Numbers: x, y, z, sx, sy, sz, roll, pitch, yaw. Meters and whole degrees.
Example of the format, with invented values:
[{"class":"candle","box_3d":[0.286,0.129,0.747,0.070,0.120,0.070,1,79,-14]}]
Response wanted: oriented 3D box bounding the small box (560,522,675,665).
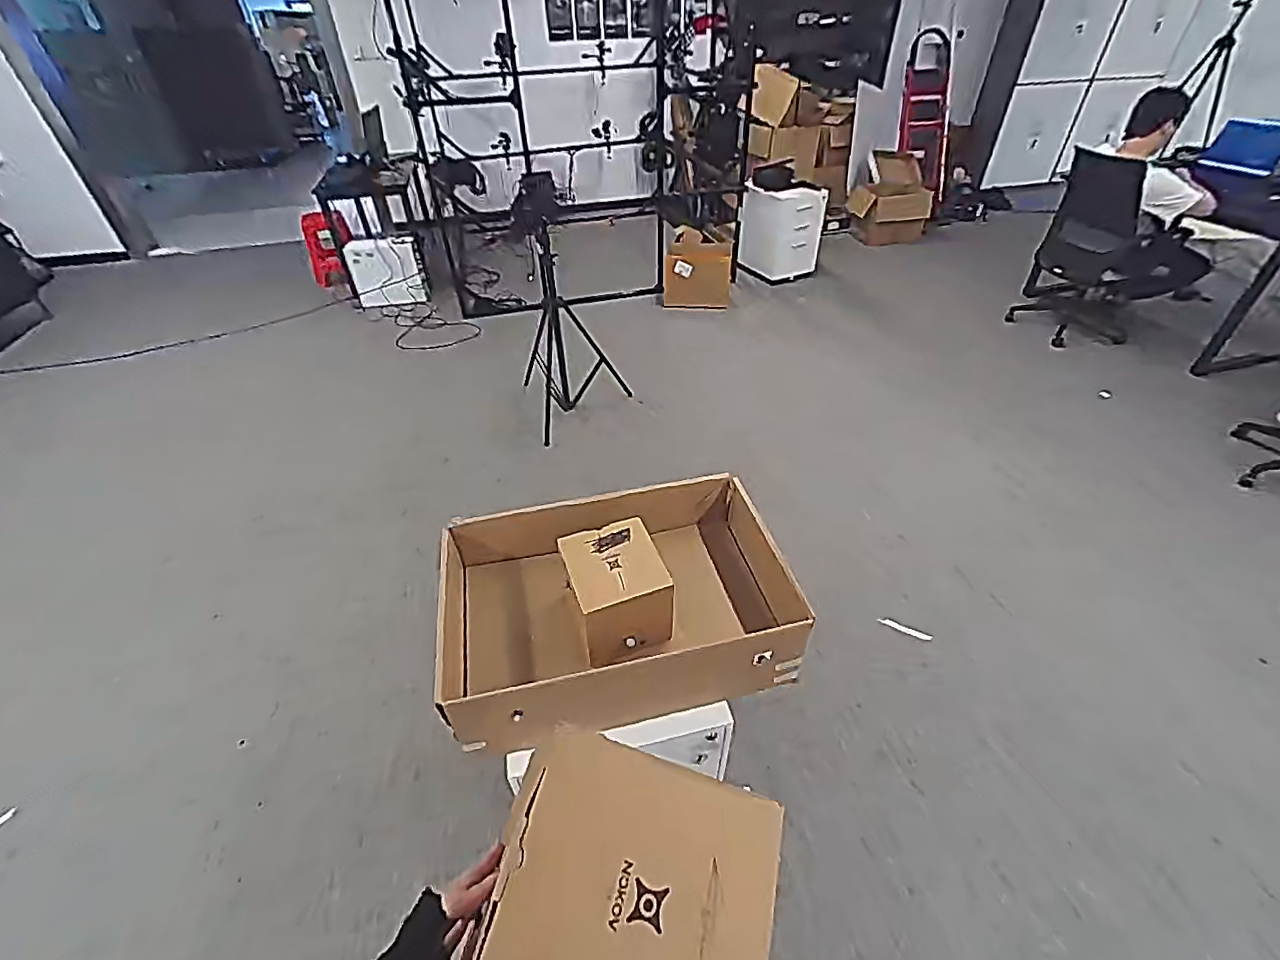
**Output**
[{"class":"small box","box_3d":[-0.045,0.211,1.015,0.168,0.176,0.179,-15,43,-15]}]
